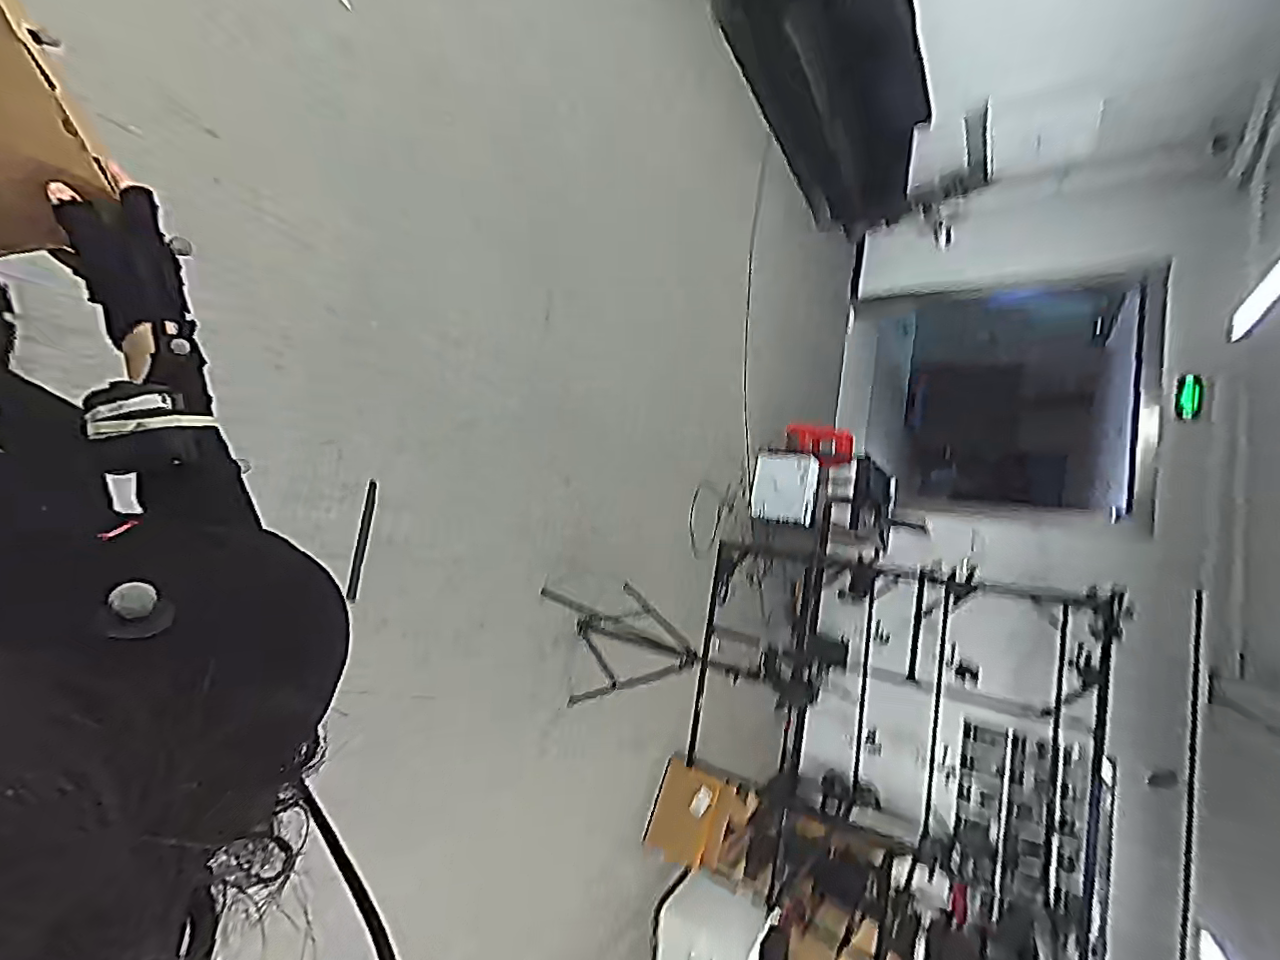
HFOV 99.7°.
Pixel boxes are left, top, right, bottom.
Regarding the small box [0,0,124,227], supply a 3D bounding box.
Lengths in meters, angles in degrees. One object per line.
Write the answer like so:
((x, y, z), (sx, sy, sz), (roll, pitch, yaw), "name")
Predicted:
((-0.537, -0.297, 0.387), (0.179, 0.176, 0.168), (-28, 150, -26), "small box")
